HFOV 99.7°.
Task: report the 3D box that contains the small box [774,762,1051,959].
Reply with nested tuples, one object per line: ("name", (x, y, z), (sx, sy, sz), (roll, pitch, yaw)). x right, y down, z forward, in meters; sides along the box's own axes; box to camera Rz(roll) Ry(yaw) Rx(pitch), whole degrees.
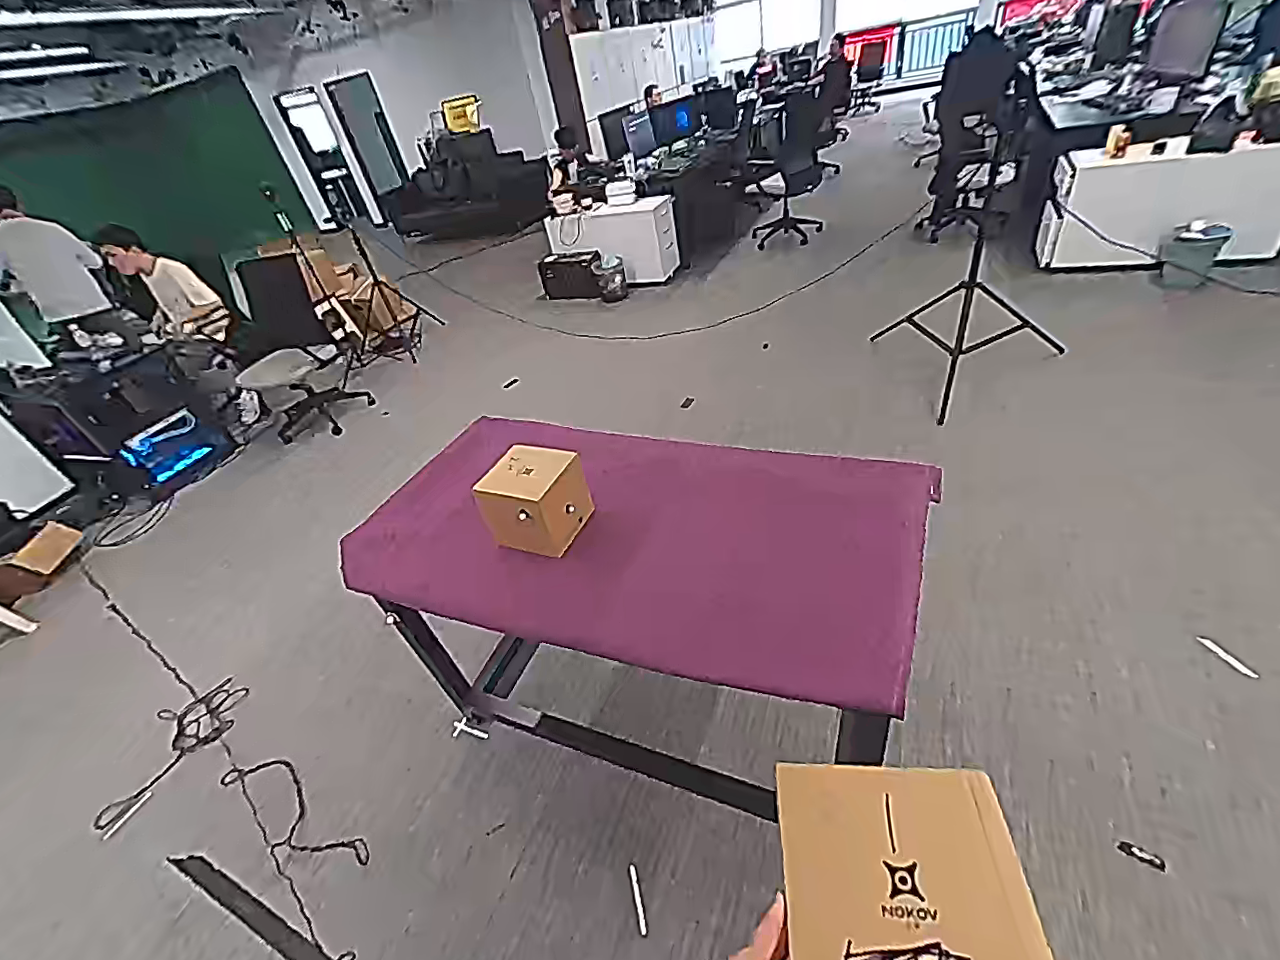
("small box", (0.198, 0.350, 0.426), (0.168, 0.176, 0.179), (-4, 38, 12))

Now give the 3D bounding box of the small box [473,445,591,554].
("small box", (-0.229, 0.044, 1.202), (0.179, 0.176, 0.168), (8, 42, 26))
